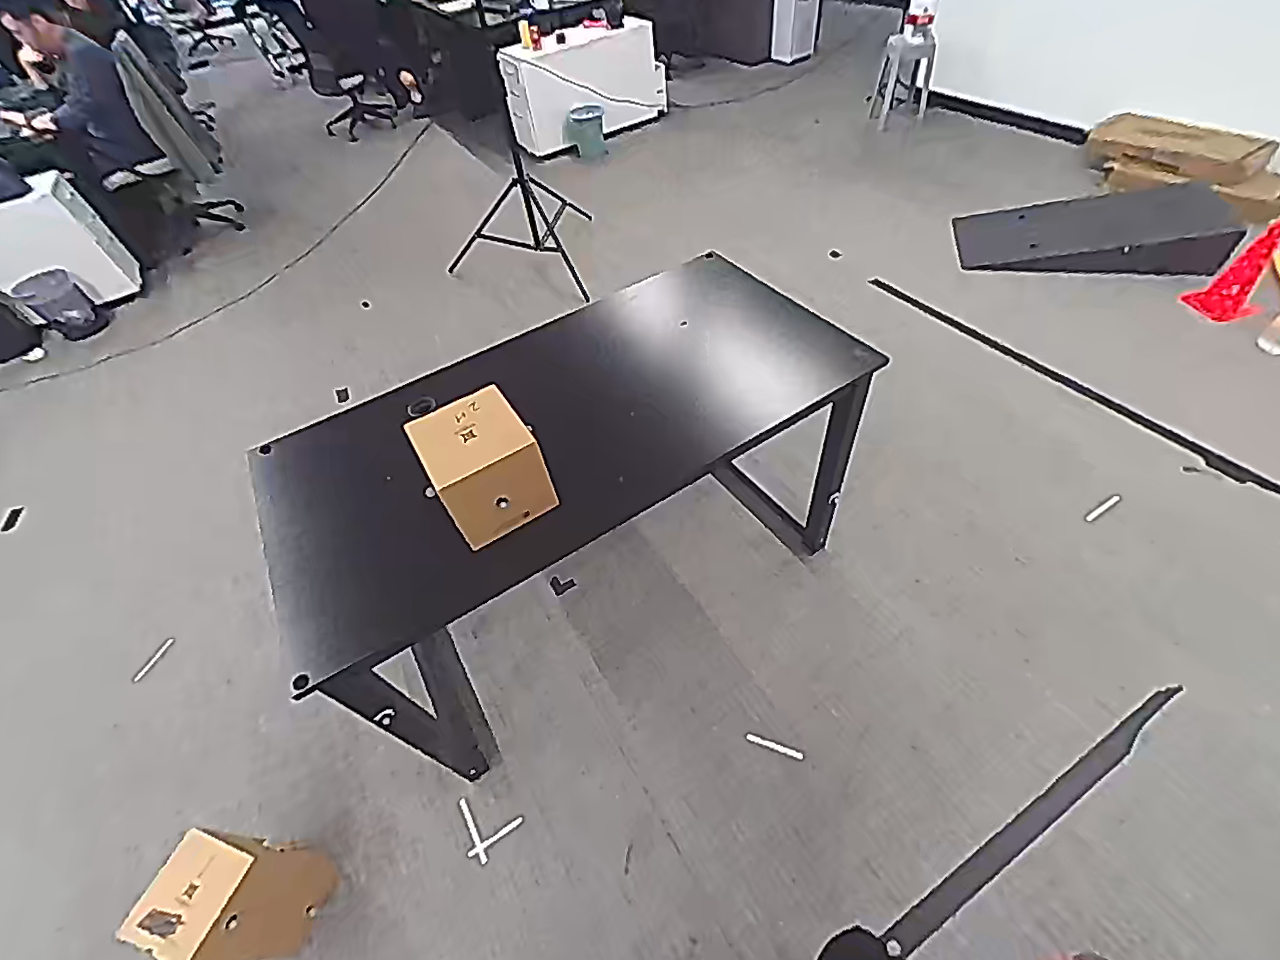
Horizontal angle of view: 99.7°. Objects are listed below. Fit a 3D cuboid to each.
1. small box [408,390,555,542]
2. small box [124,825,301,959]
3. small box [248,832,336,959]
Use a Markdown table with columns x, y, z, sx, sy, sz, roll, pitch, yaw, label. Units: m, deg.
| x | y | z | sx | sy | sz | roll | pitch | yaw | label |
| --- | --- | --- | --- | --- | --- | --- | --- | --- | --- |
| -0.265 | -0.016 | 0.932 | 0.168 | 0.176 | 0.179 | -29 | 52 | -16 | small box |
| -0.816 | 0.811 | 1.055 | 0.168 | 0.176 | 0.179 | 11 | 53 | 16 | small box |
| -0.811 | 0.911 | 1.188 | 0.168 | 0.176 | 0.179 | 10 | 52 | 15 | small box |
